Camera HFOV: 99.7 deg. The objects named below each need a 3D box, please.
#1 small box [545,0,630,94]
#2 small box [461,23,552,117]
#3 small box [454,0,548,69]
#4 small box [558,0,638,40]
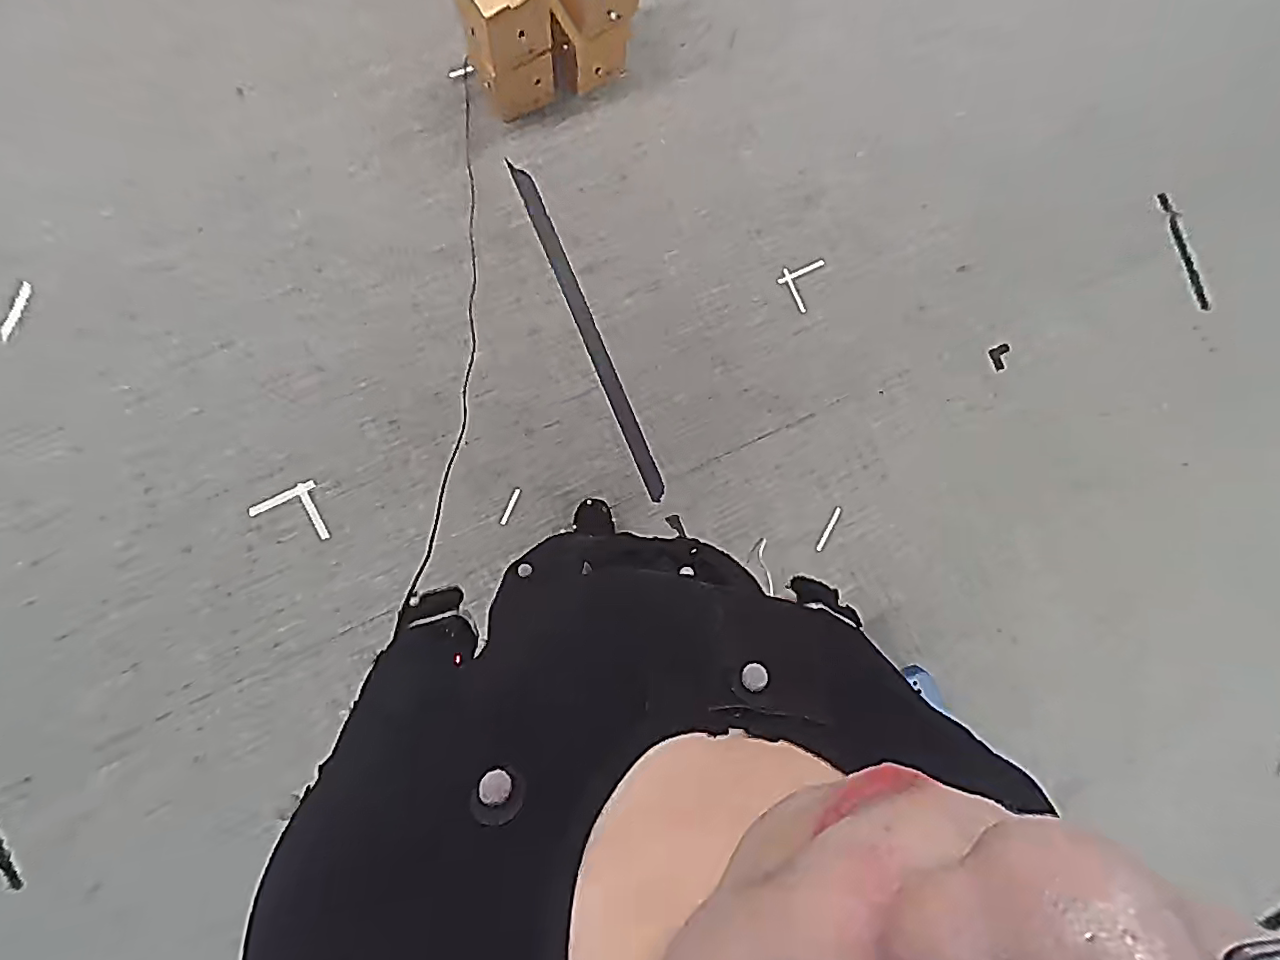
[{"bbox_3d":[-0.148,-1.197,1.448,0.168,0.176,0.179,-34,93,-6],"label":"small box"},{"bbox_3d":[-0.342,-1.102,1.425,0.168,0.176,0.179,-29,91,-7],"label":"small box"},{"bbox_3d":[-0.326,-1.112,1.262,0.168,0.176,0.179,-33,93,-7],"label":"small box"},{"bbox_3d":[-0.110,-1.218,1.288,0.168,0.176,0.179,-33,93,-6],"label":"small box"}]
